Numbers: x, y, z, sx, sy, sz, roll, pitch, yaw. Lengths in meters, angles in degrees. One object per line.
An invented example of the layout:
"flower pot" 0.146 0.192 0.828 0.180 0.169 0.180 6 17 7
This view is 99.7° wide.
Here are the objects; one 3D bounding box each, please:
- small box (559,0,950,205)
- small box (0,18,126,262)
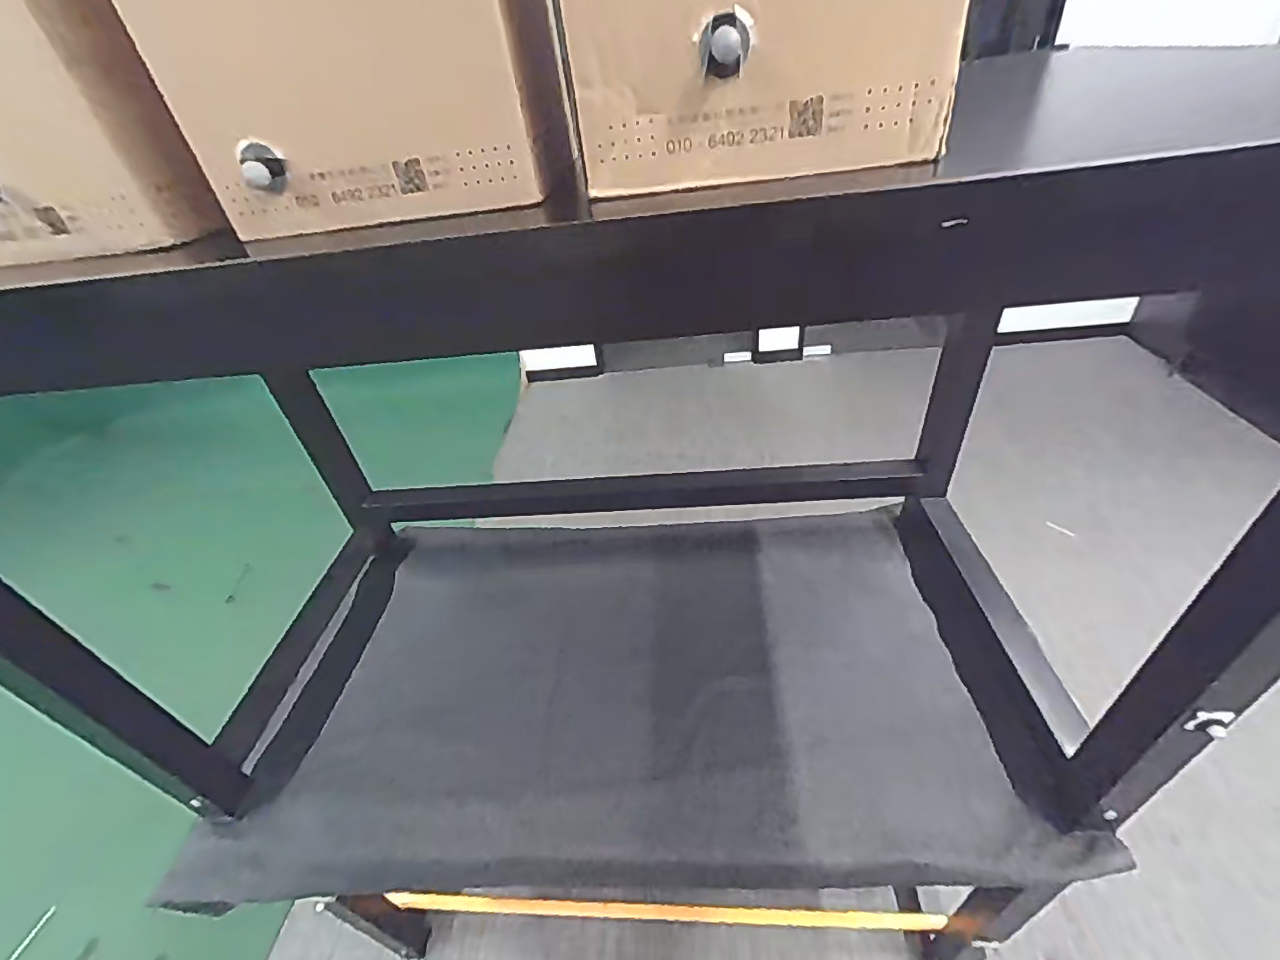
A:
"small box" 0.050 -0.255 0.282 0.168 0.176 0.179 -3 38 8
"small box" -0.534 -0.235 0.370 0.168 0.176 0.179 -2 37 6
